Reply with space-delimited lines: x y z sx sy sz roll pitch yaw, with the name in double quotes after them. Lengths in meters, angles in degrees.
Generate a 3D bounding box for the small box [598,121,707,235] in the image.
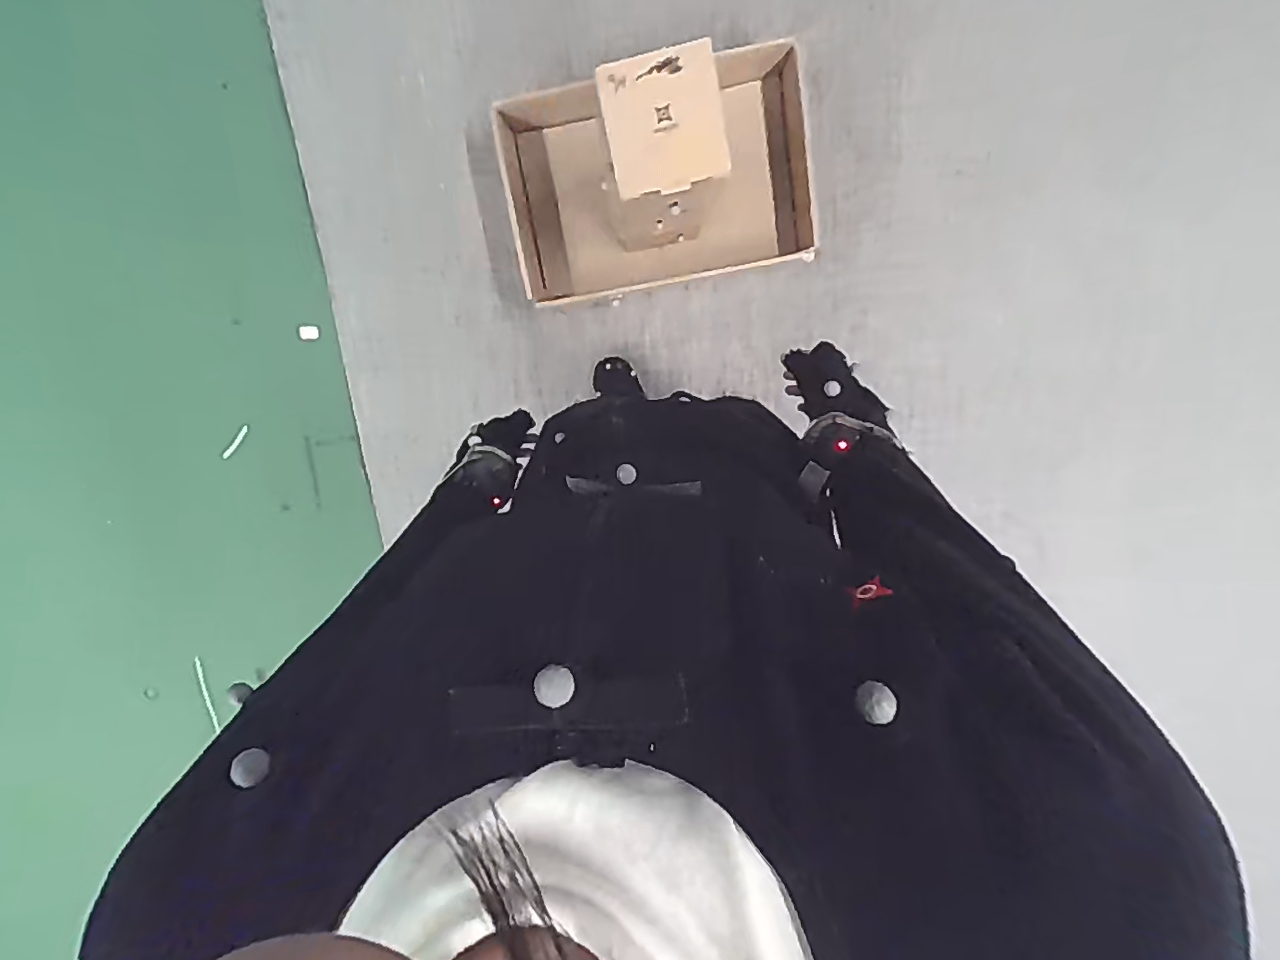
0.026 -0.573 1.015 0.179 0.176 0.168 -8 102 5 "small box"

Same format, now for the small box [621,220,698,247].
0.031 -0.612 1.158 0.168 0.176 0.179 -10 102 4 "small box"

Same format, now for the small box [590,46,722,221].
0.031 -0.530 0.860 0.168 0.176 0.179 -13 102 6 "small box"
